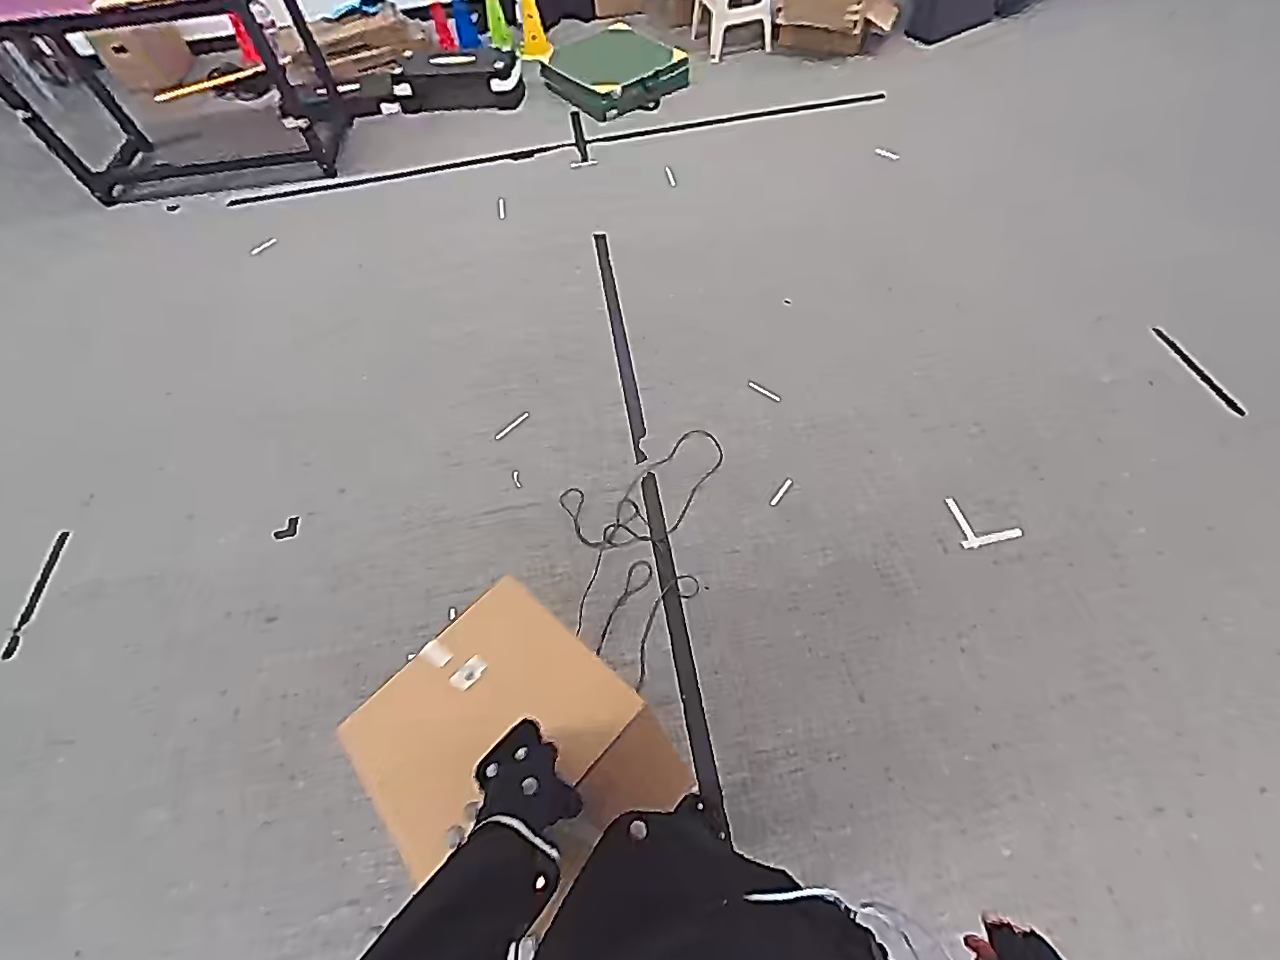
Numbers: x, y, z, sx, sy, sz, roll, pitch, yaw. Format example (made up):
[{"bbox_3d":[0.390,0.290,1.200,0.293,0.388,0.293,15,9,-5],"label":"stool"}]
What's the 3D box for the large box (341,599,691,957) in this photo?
[{"bbox_3d":[-0.161,0.458,0.847,0.320,0.408,0.320,30,64,35],"label":"large box"}]
